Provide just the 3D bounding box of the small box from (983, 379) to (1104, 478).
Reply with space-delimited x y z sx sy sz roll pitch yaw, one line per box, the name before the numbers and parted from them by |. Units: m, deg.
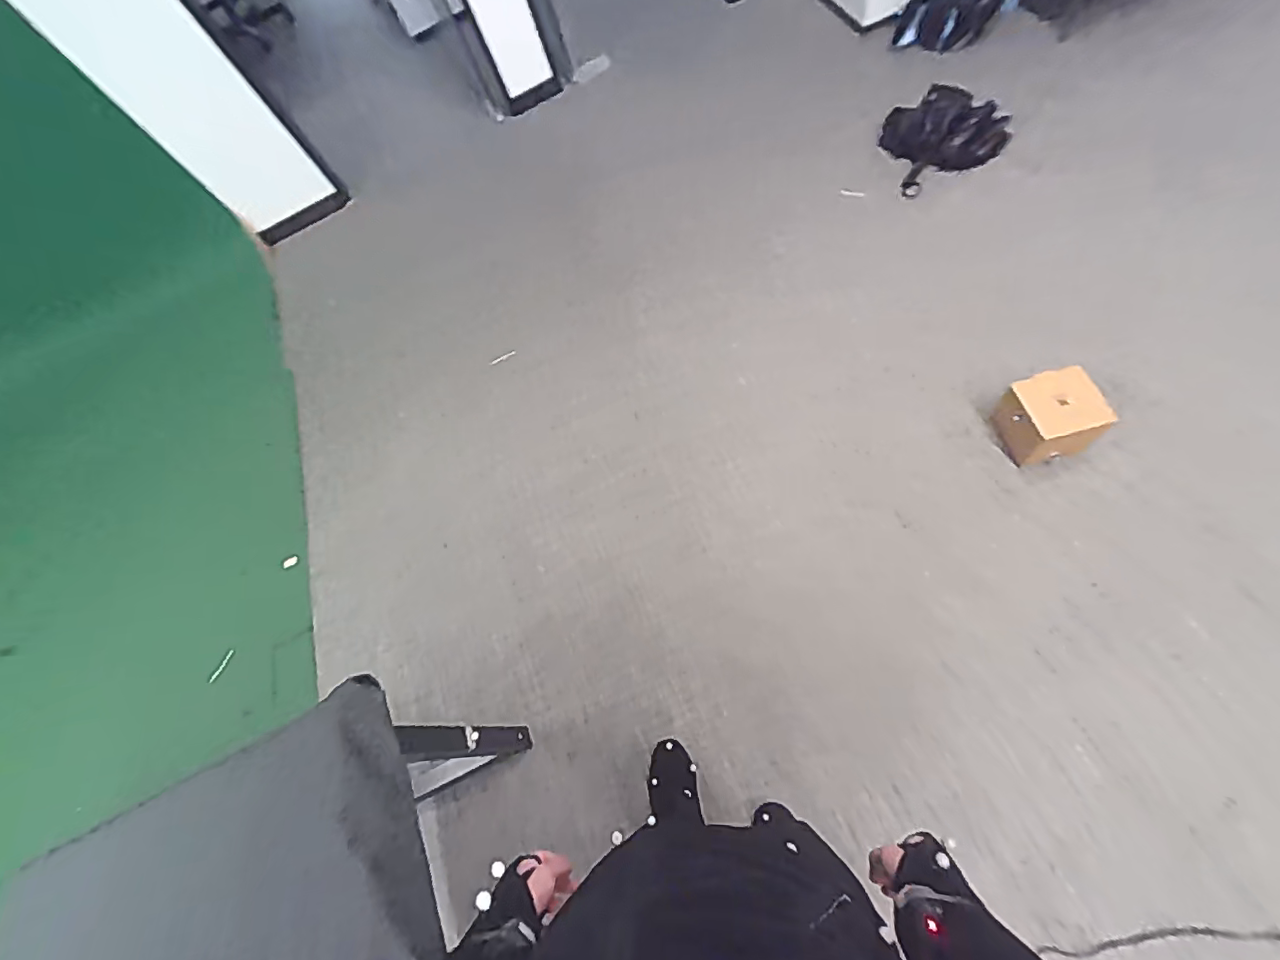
small box | 1.041 -0.129 1.416 0.168 0.176 0.179 -16 63 8
